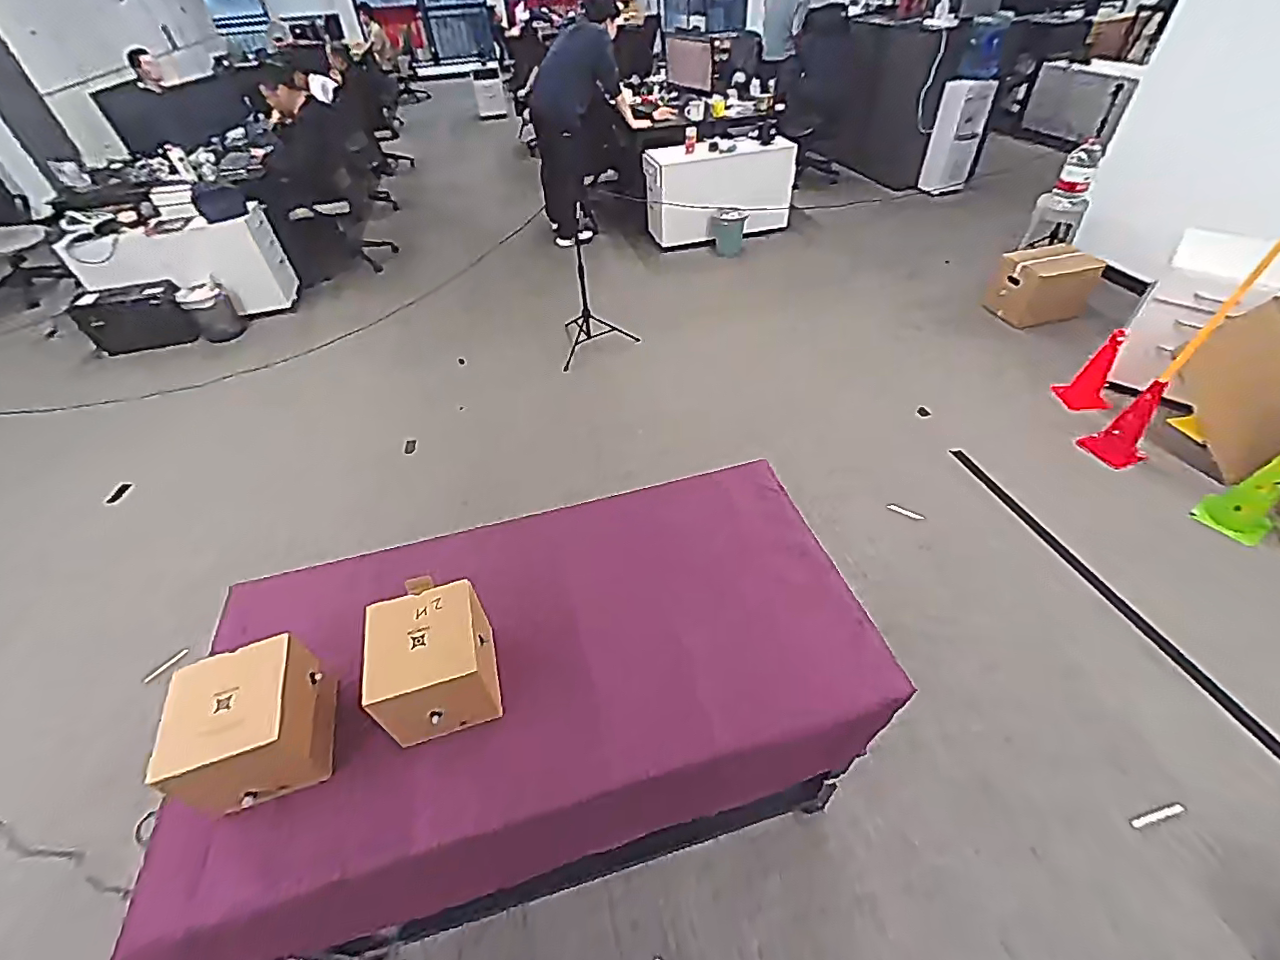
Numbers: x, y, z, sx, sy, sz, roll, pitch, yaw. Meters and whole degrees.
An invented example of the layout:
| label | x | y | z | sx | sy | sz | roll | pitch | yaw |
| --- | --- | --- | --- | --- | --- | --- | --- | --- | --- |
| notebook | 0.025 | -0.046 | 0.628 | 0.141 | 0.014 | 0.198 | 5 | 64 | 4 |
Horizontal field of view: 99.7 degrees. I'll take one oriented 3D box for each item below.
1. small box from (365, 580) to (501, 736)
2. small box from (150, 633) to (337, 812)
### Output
| label | x | y | z | sx | sy | sz | roll | pitch | yaw |
| --- | --- | --- | --- | --- | --- | --- | --- | --- | --- |
| small box | -0.337 | 0.302 | 0.901 | 0.168 | 0.176 | 0.179 | -14 | 45 | -11 |
| small box | -0.595 | 0.377 | 0.843 | 0.168 | 0.176 | 0.179 | -16 | 45 | -11 |
